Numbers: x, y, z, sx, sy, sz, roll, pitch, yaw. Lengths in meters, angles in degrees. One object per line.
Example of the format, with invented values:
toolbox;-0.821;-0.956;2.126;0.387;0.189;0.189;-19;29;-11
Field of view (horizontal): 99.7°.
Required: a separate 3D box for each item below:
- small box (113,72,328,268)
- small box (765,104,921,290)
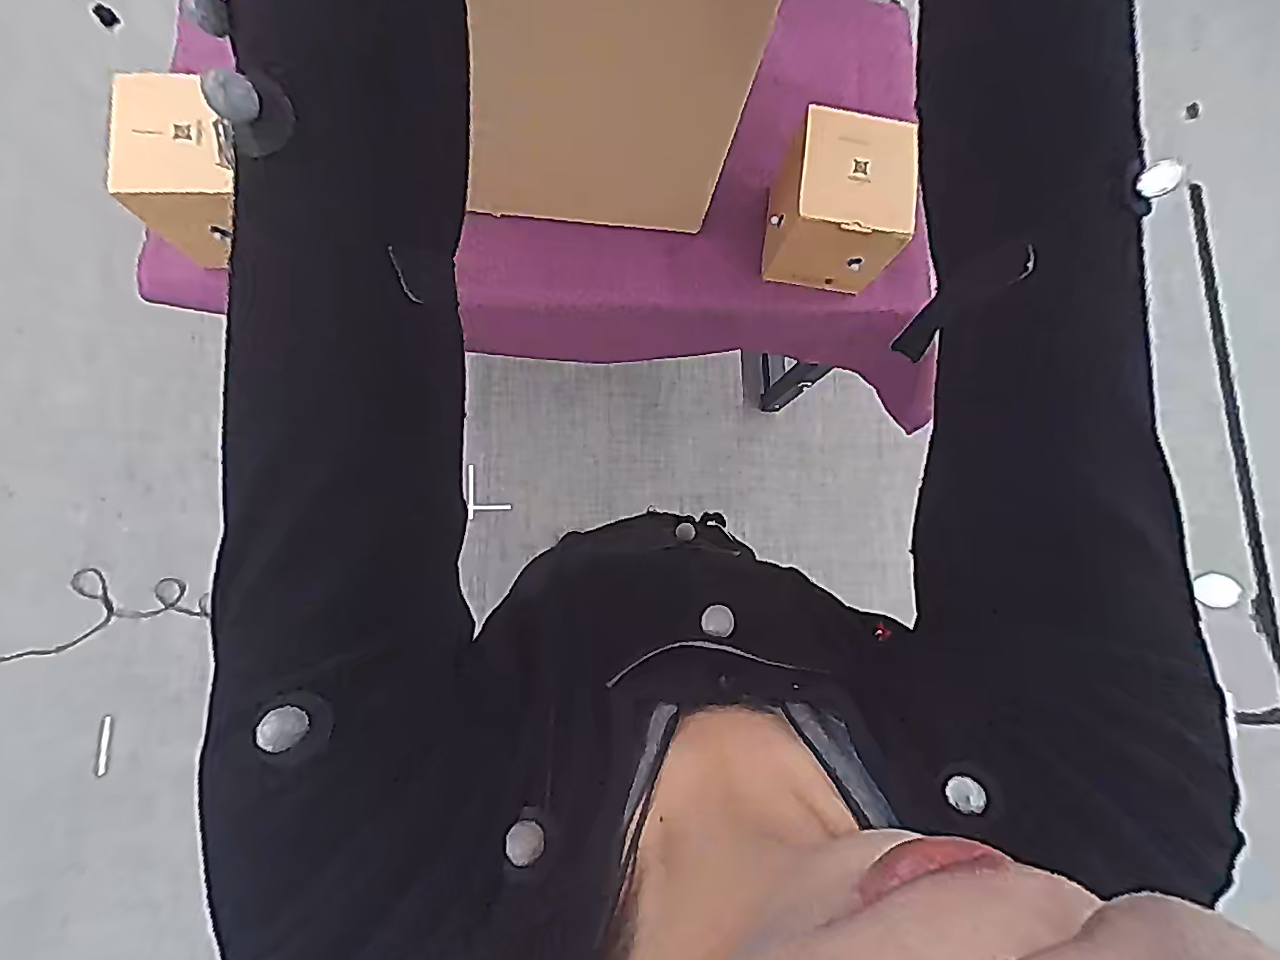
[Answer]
small box;-0.549;-0.407;0.735;0.179;0.176;0.168;-4;81;-7
small box;0.297;-0.414;0.820;0.168;0.176;0.179;7;80;-5
